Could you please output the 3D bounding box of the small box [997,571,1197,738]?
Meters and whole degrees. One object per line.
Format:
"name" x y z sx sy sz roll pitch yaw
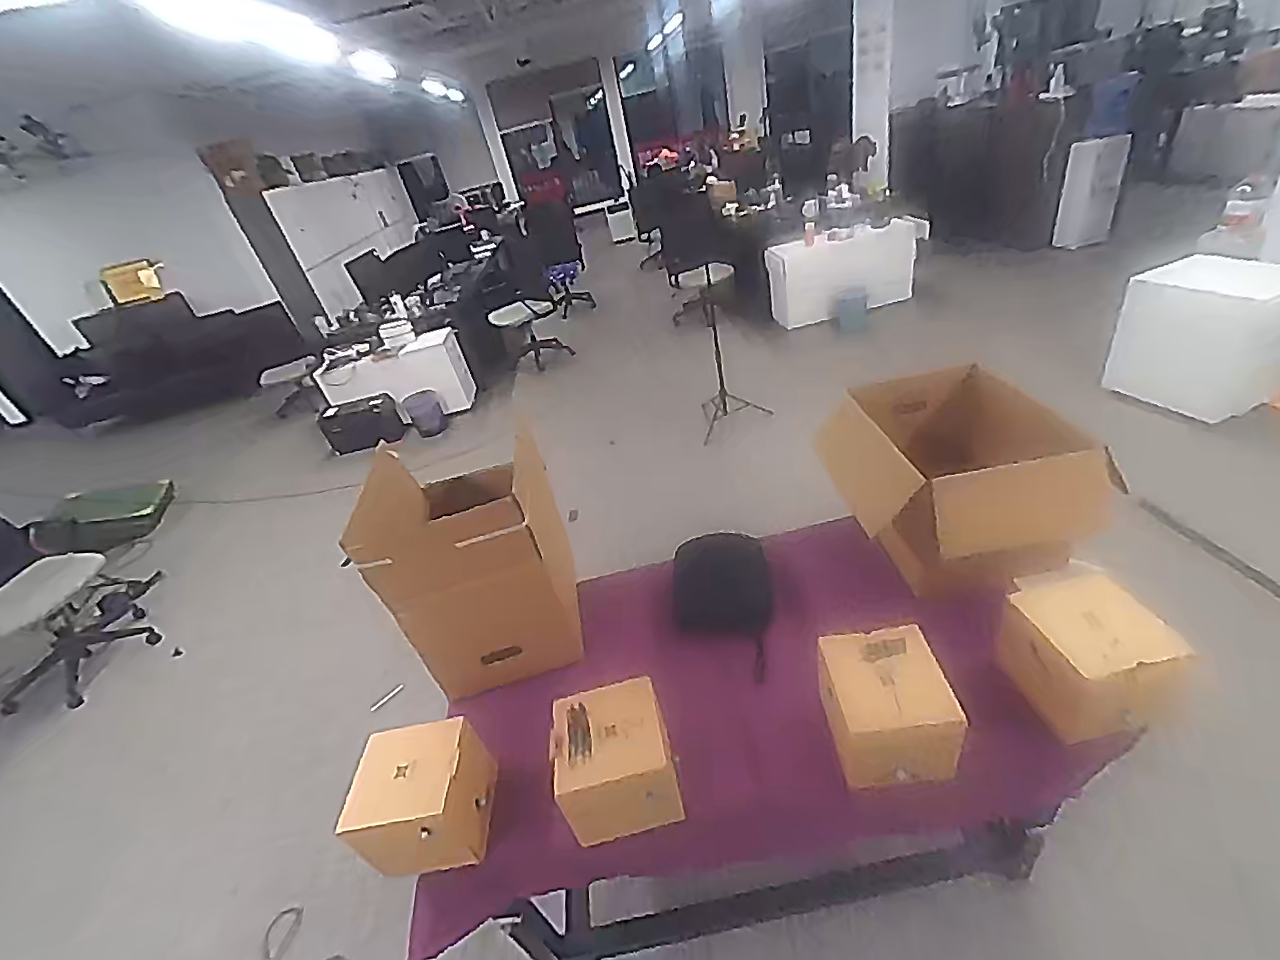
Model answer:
"small box" 0.722 0.283 0.883 0.168 0.176 0.179 -15 33 2

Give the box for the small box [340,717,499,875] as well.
"small box" -0.363 0.543 0.928 0.179 0.176 0.168 -12 33 2

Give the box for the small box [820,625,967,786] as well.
"small box" 0.400 0.368 0.887 0.168 0.176 0.179 -10 35 7
